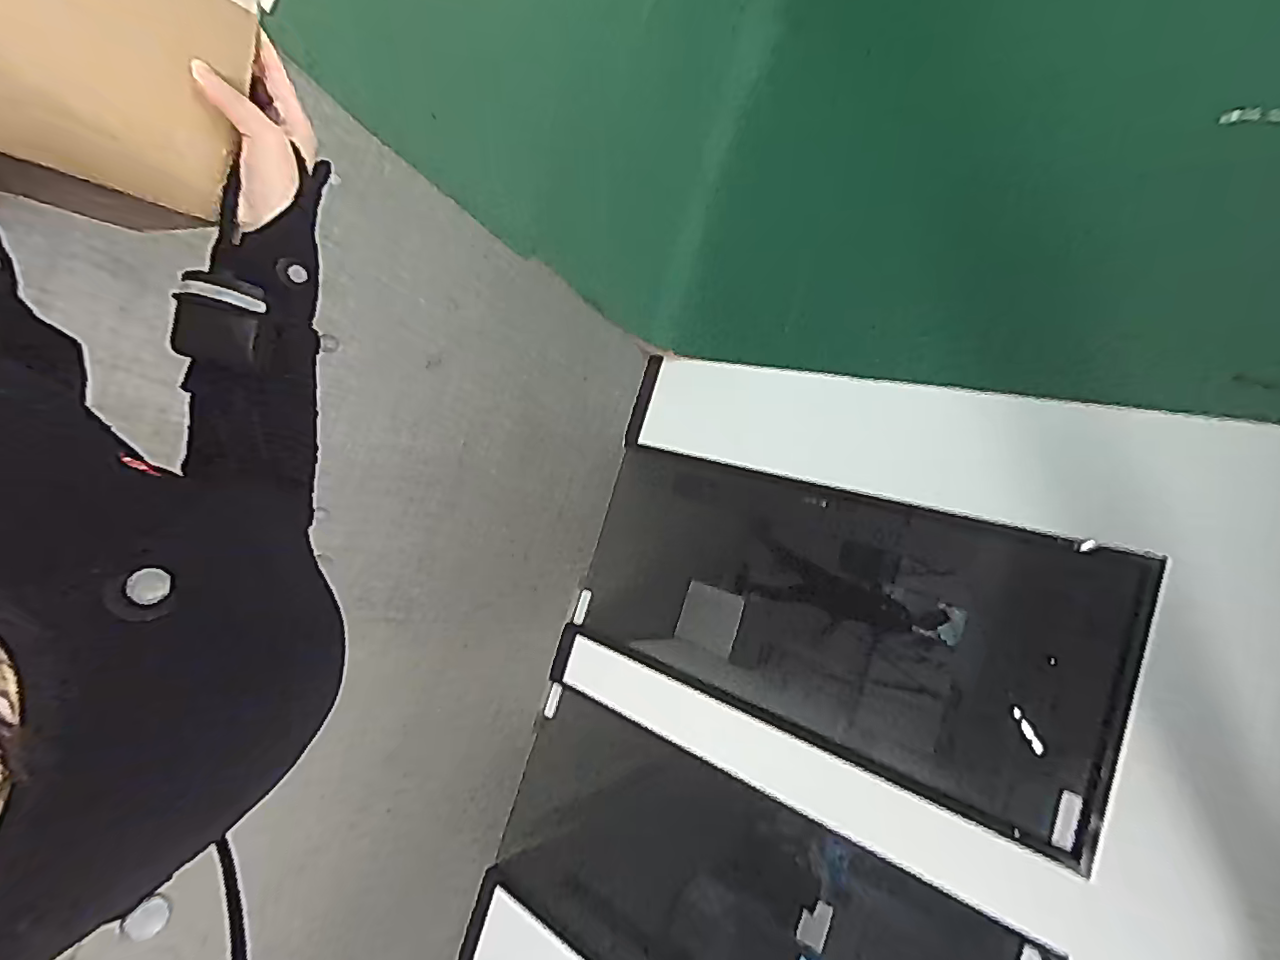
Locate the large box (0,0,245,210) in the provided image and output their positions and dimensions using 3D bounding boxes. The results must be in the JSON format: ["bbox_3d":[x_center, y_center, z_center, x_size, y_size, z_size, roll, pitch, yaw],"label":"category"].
[{"bbox_3d":[-0.515,-0.395,0.312,0.408,0.320,0.320,2,104,-54],"label":"large box"}]
